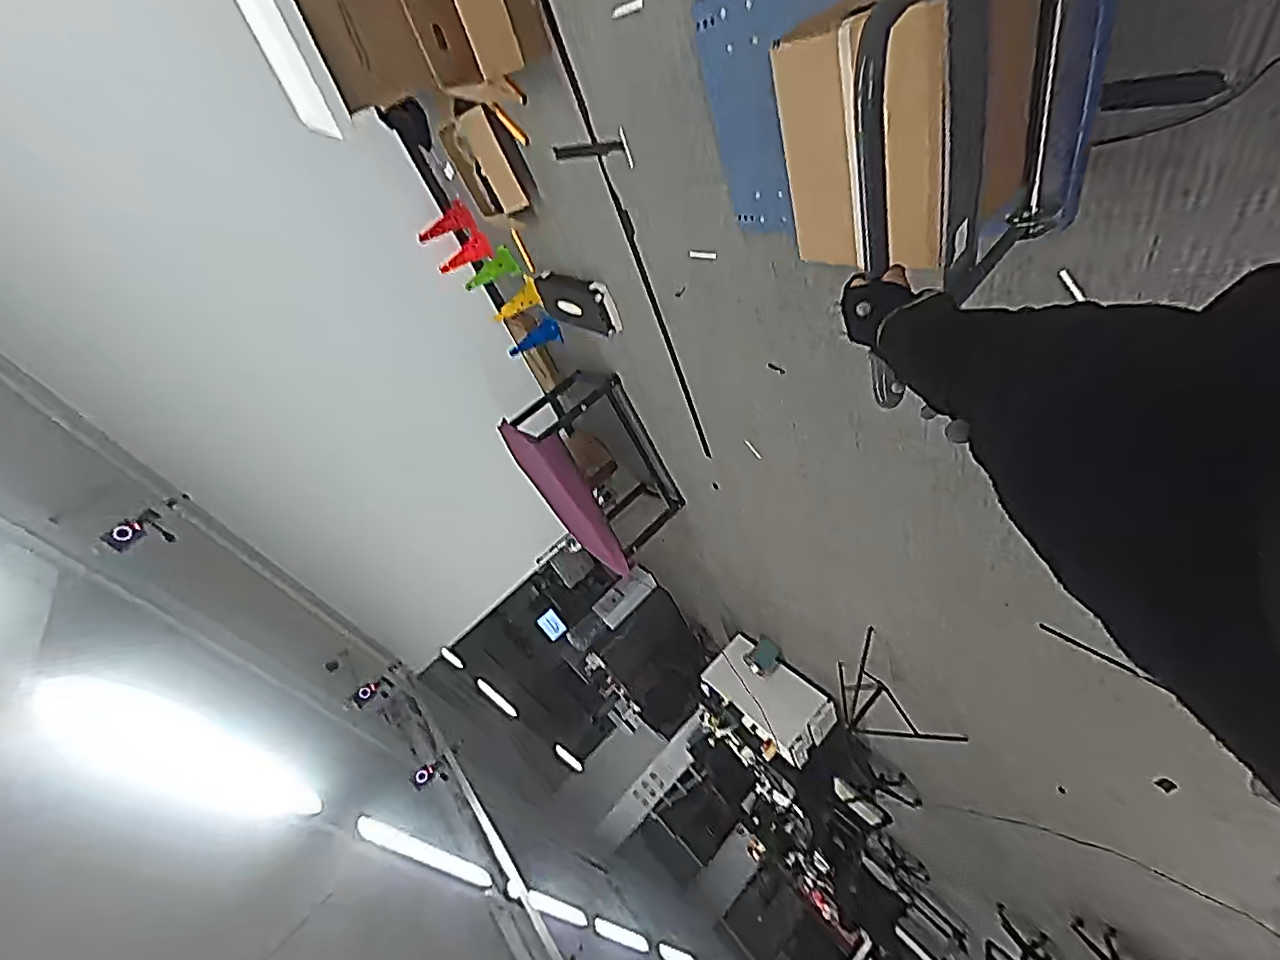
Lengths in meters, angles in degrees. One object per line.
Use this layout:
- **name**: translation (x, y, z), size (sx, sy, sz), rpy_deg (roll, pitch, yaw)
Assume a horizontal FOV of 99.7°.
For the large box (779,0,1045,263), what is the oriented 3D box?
- **large box**: translation (0.513, -0.677, 1.025), size (0.320, 0.320, 0.408), rpy_deg (28, 152, 45)
